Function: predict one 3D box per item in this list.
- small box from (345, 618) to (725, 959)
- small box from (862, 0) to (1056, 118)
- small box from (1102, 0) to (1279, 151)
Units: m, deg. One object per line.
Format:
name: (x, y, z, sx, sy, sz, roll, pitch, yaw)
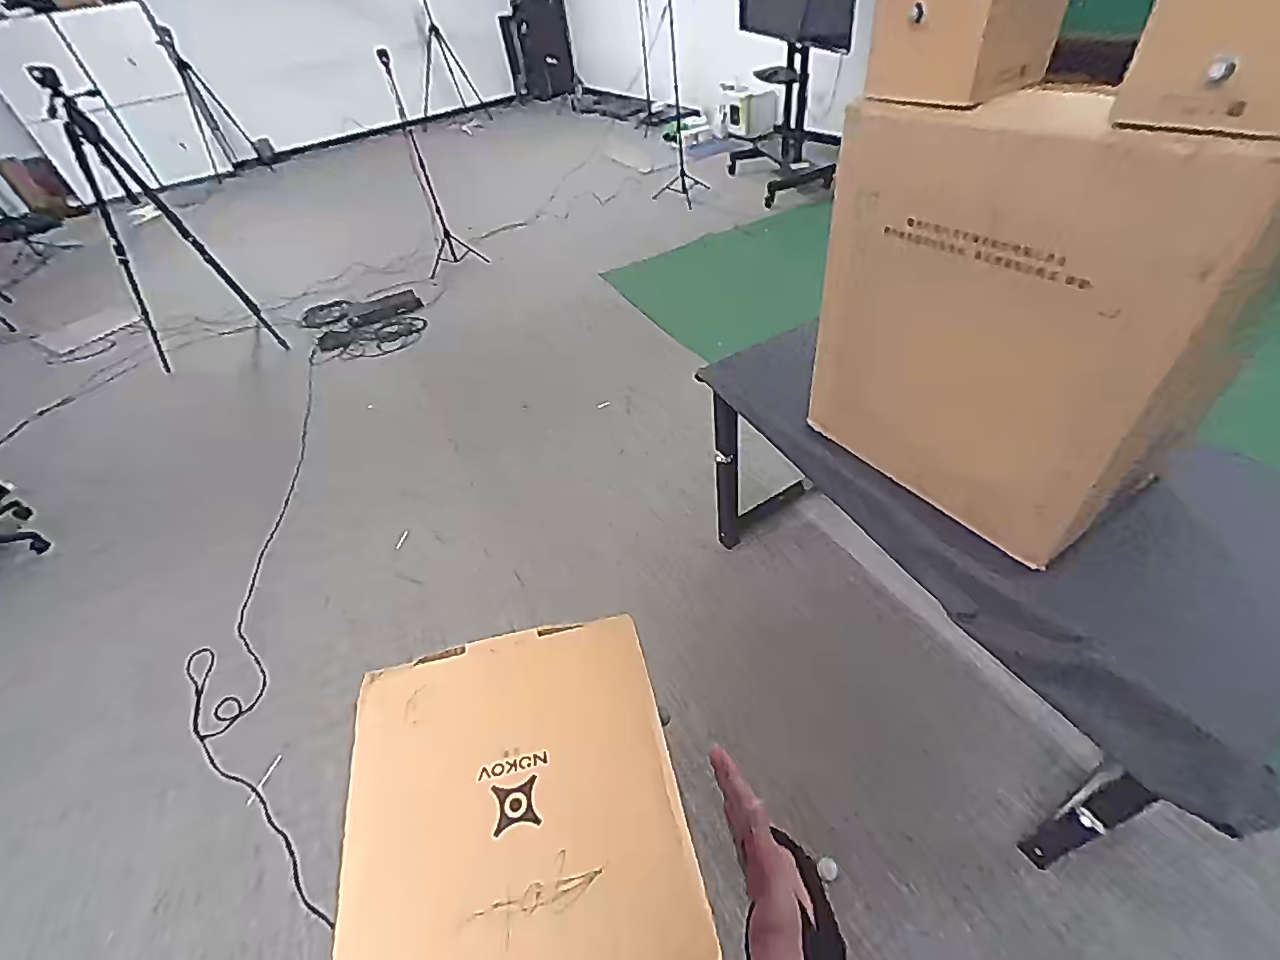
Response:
small box: (-0.060, 0.217, 0.338, 0.168, 0.176, 0.179, -10, 49, -9)
small box: (0.433, -0.617, 0.747, 0.168, 0.176, 0.179, -29, 44, -17)
small box: (0.614, -0.450, 0.533, 0.179, 0.176, 0.168, -33, 48, -21)
